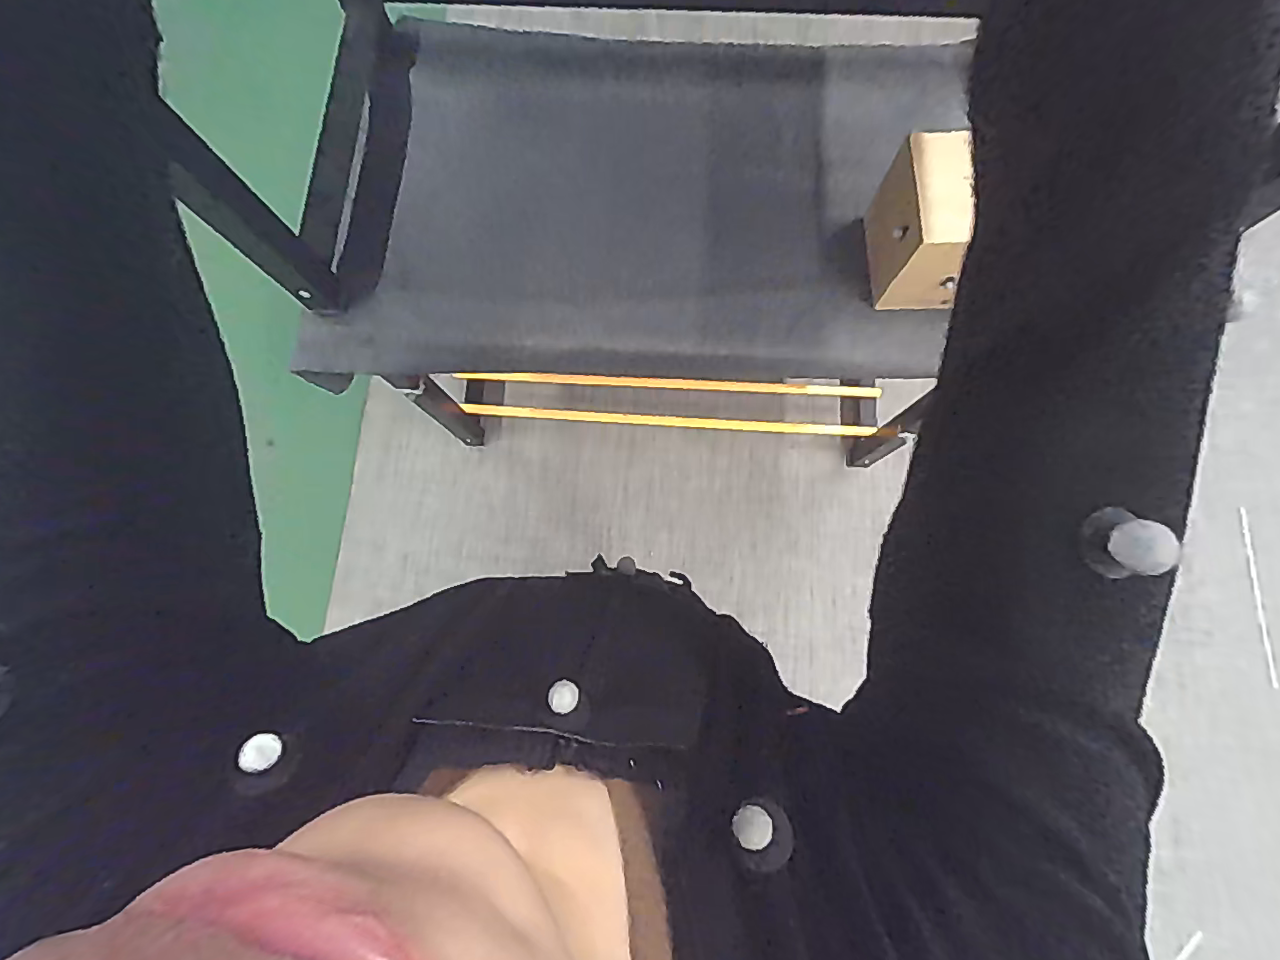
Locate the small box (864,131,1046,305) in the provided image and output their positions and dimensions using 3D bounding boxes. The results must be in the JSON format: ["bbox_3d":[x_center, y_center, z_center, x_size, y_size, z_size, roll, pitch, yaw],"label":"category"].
[{"bbox_3d":[0.452,-0.377,0.804,0.168,0.176,0.179,-1,77,1],"label":"small box"}]
